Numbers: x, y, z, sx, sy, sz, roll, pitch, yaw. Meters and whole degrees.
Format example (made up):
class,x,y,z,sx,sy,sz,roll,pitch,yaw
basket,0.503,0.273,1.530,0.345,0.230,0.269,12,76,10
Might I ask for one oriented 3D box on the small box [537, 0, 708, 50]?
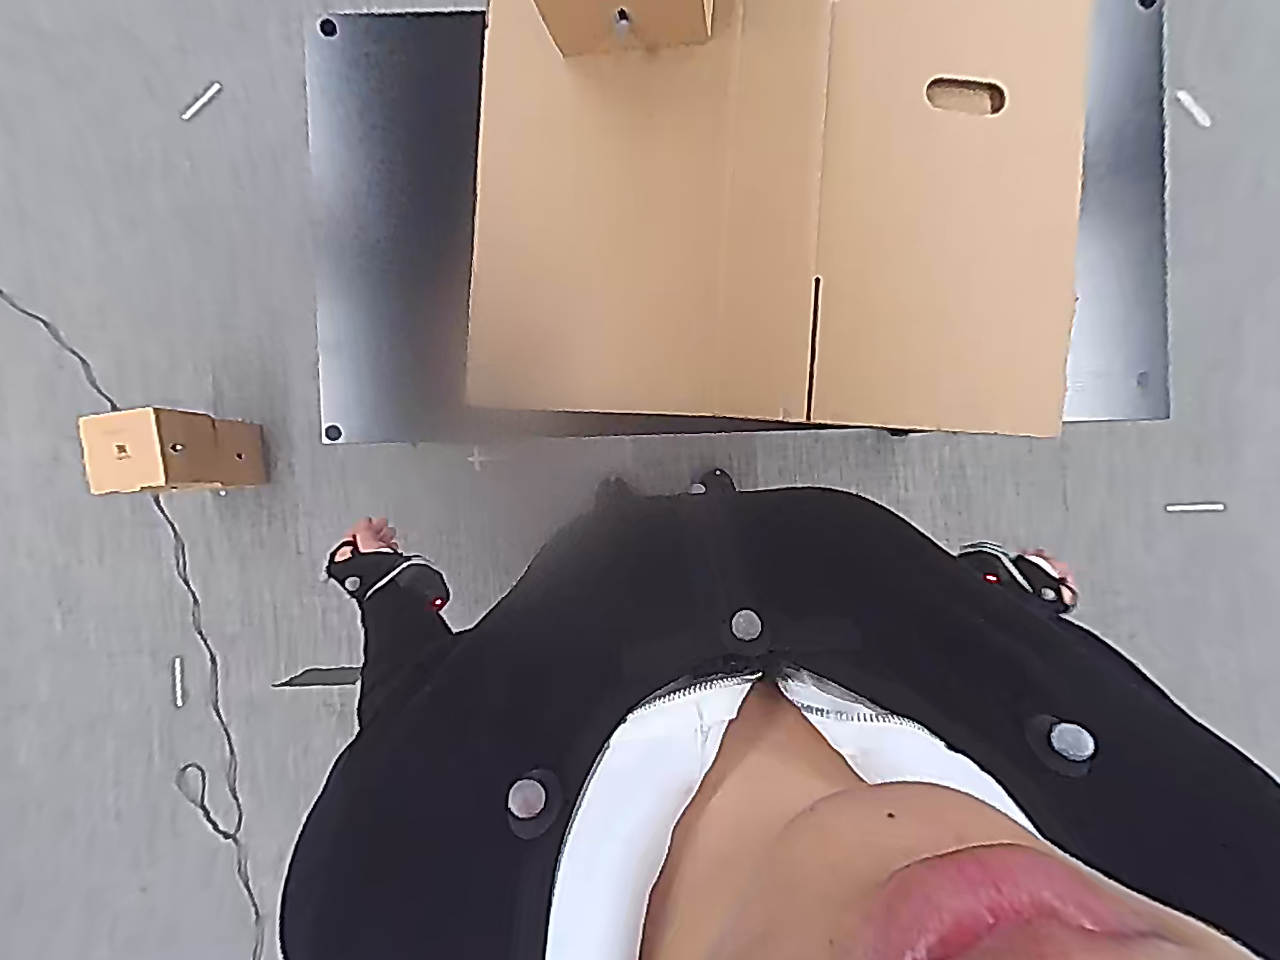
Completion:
class,x,y,z,sx,sy,sz,roll,pitch,yaw
small box,-0.020,-0.566,0.526,0.179,0.176,0.168,5,91,13

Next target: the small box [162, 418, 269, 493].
class,x,y,z,sx,sy,sz,roll,pitch,yaw
small box,-1.120,-0.062,1.426,0.168,0.176,0.179,-6,92,1

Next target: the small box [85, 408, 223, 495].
class,x,y,z,sx,sy,sz,roll,pitch,yaw
small box,-1.122,-0.065,1.264,0.168,0.176,0.179,-9,90,0
